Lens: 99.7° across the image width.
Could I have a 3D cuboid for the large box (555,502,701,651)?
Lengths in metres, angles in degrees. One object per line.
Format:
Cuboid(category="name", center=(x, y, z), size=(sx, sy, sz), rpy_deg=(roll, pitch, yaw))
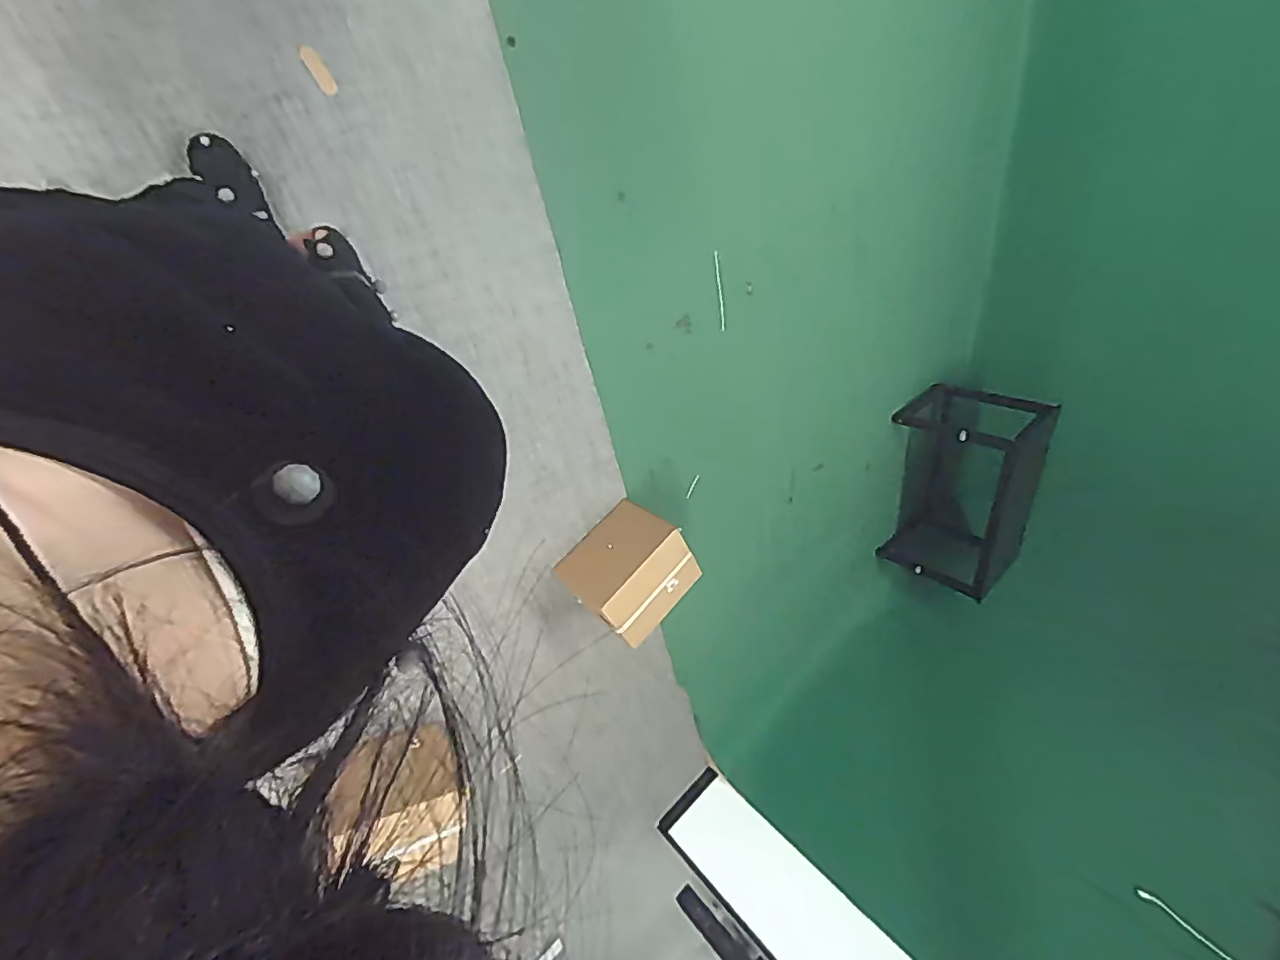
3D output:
Cuboid(category="large box", center=(-0.043, 0.360, 2.080), size=(0.408, 0.320, 0.320), rpy_deg=(-46, 134, -18))
